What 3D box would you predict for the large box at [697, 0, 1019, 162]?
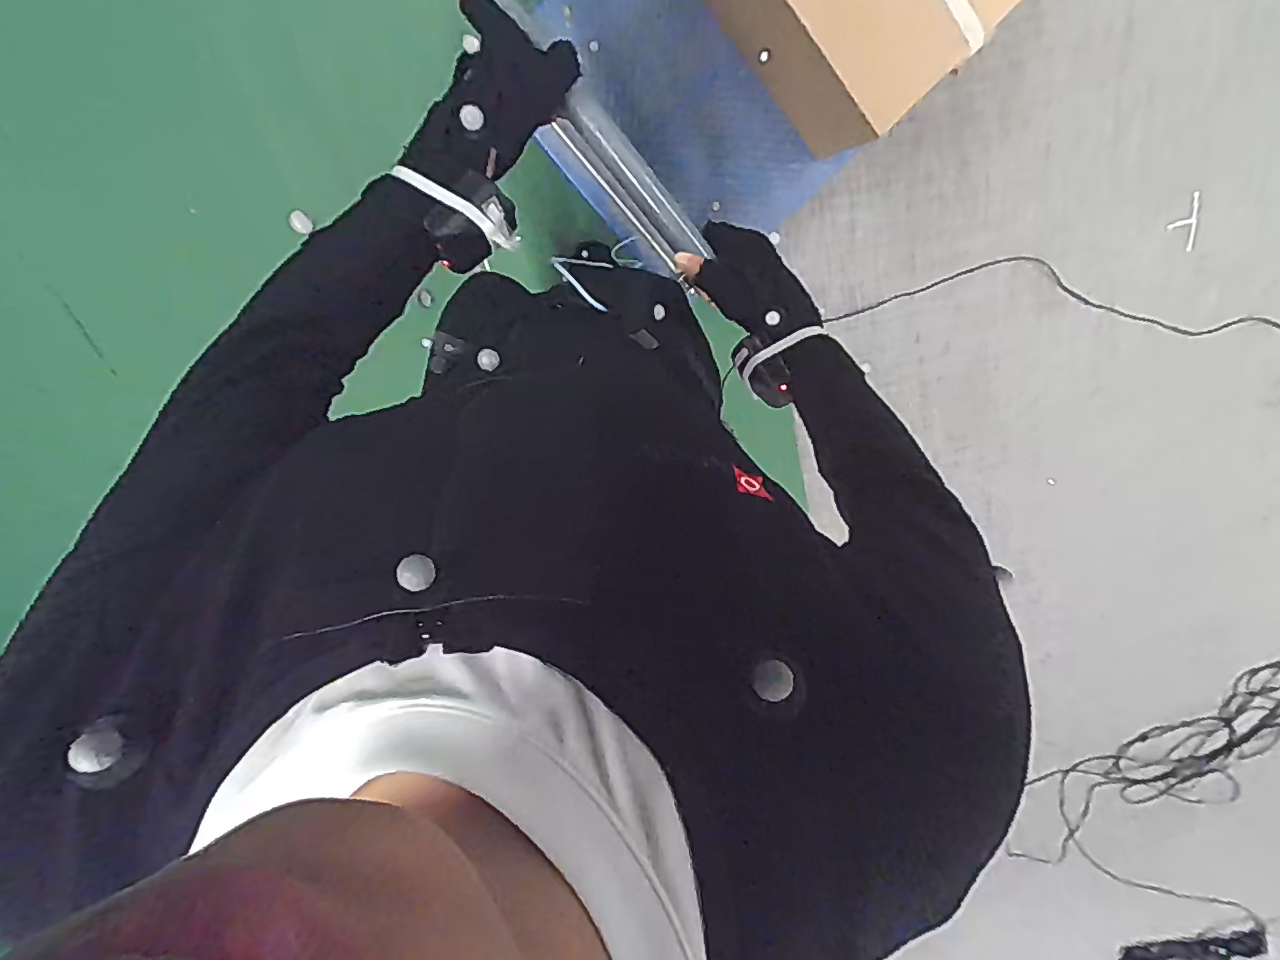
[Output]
[{"bbox_3d":[0.317,-0.782,0.828,0.320,0.320,0.408,-41,107,17],"label":"large box"}]
